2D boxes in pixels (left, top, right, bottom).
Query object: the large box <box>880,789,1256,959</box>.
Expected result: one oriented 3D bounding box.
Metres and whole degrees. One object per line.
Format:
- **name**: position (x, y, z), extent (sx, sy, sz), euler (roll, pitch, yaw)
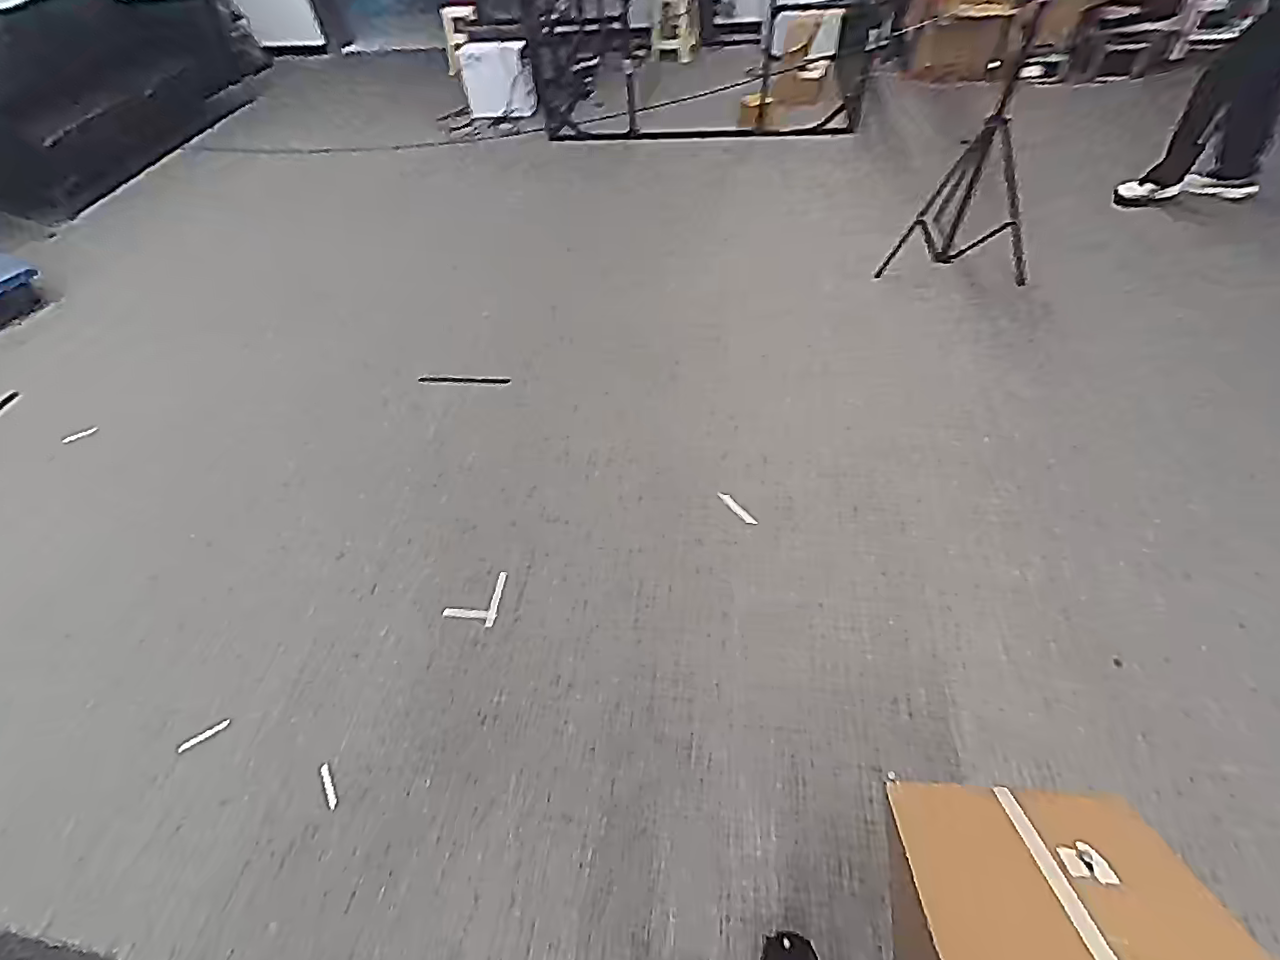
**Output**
- **large box**: position (0.494, 0.638, 0.625), extent (0.320, 0.320, 0.408), euler (-3, 5, 12)
